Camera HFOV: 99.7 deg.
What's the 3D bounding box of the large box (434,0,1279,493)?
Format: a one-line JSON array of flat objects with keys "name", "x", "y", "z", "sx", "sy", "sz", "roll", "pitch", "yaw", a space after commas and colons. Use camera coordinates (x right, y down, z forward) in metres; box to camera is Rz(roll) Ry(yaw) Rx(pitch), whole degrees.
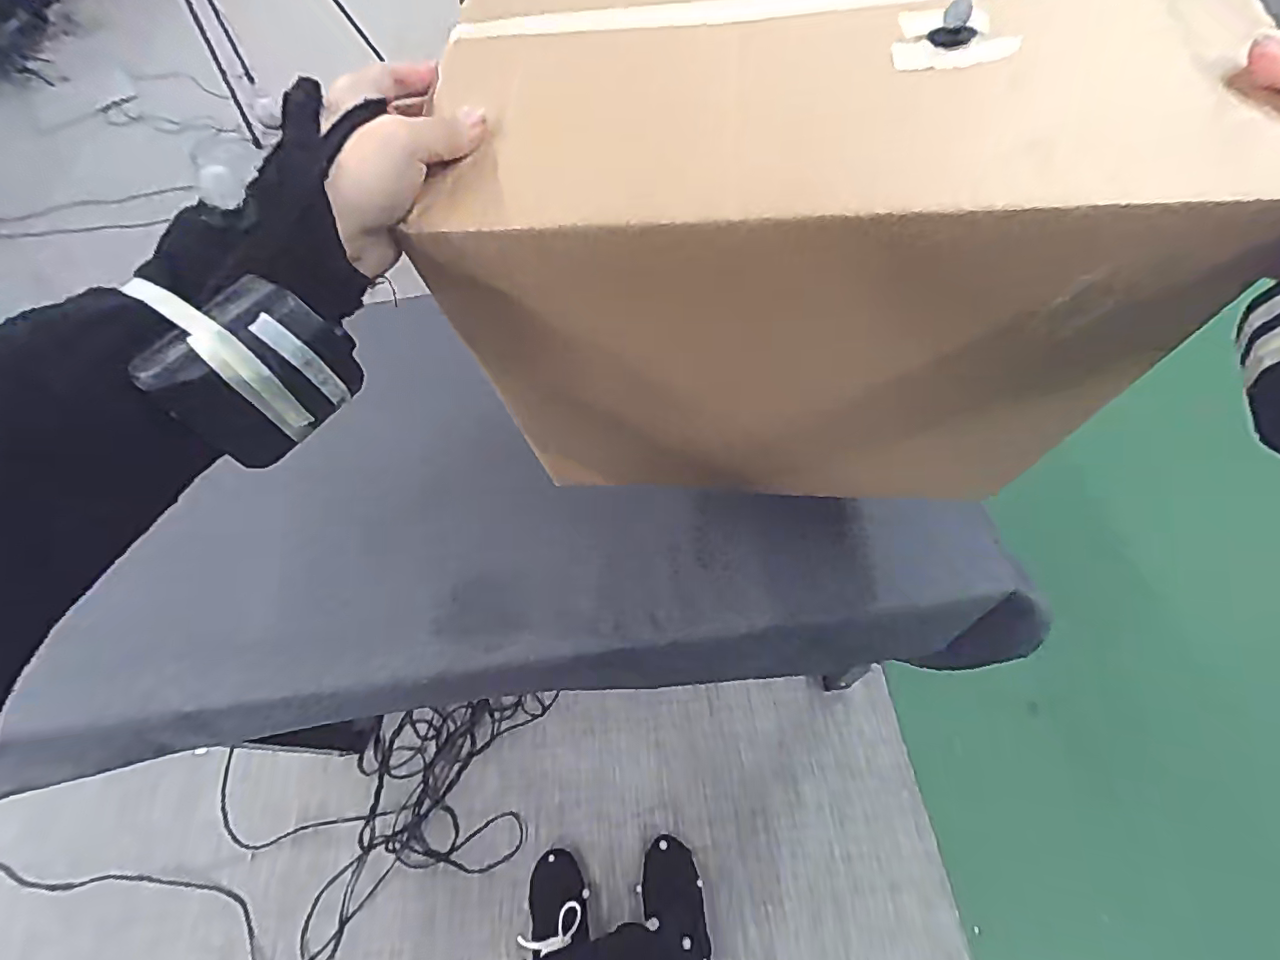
[{"name": "large box", "x": 0.115, "y": -0.189, "z": 0.442, "sx": 0.408, "sy": 0.320, "sz": 0.320, "roll": 2, "pitch": 66, "yaw": 7}]
